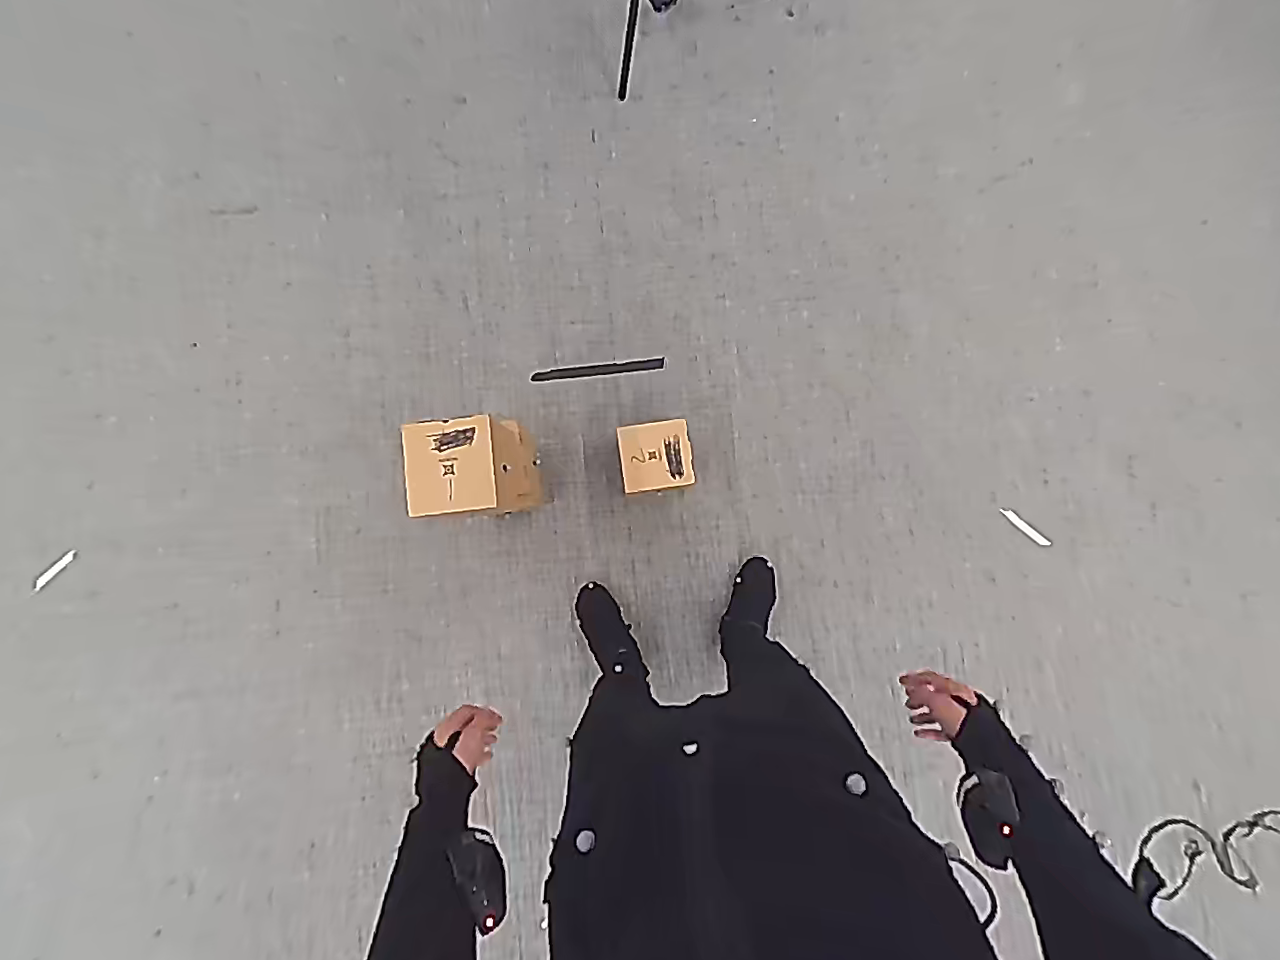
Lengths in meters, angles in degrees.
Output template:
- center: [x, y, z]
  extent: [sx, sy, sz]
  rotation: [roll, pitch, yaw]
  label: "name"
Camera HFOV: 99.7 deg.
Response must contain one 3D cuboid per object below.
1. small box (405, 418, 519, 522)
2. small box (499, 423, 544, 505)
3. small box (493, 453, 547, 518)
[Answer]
- center: [-0.342, -0.013, 1.064]
  extent: [0.168, 0.176, 0.179]
  rotation: [-7, 85, 1]
  label: "small box"
- center: [-0.329, -0.022, 1.230]
  extent: [0.179, 0.176, 0.168]
  rotation: [-10, 84, -1]
  label: "small box"
- center: [-0.343, 0.000, 1.393]
  extent: [0.168, 0.176, 0.179]
  rotation: [-9, 85, -1]
  label: "small box"
